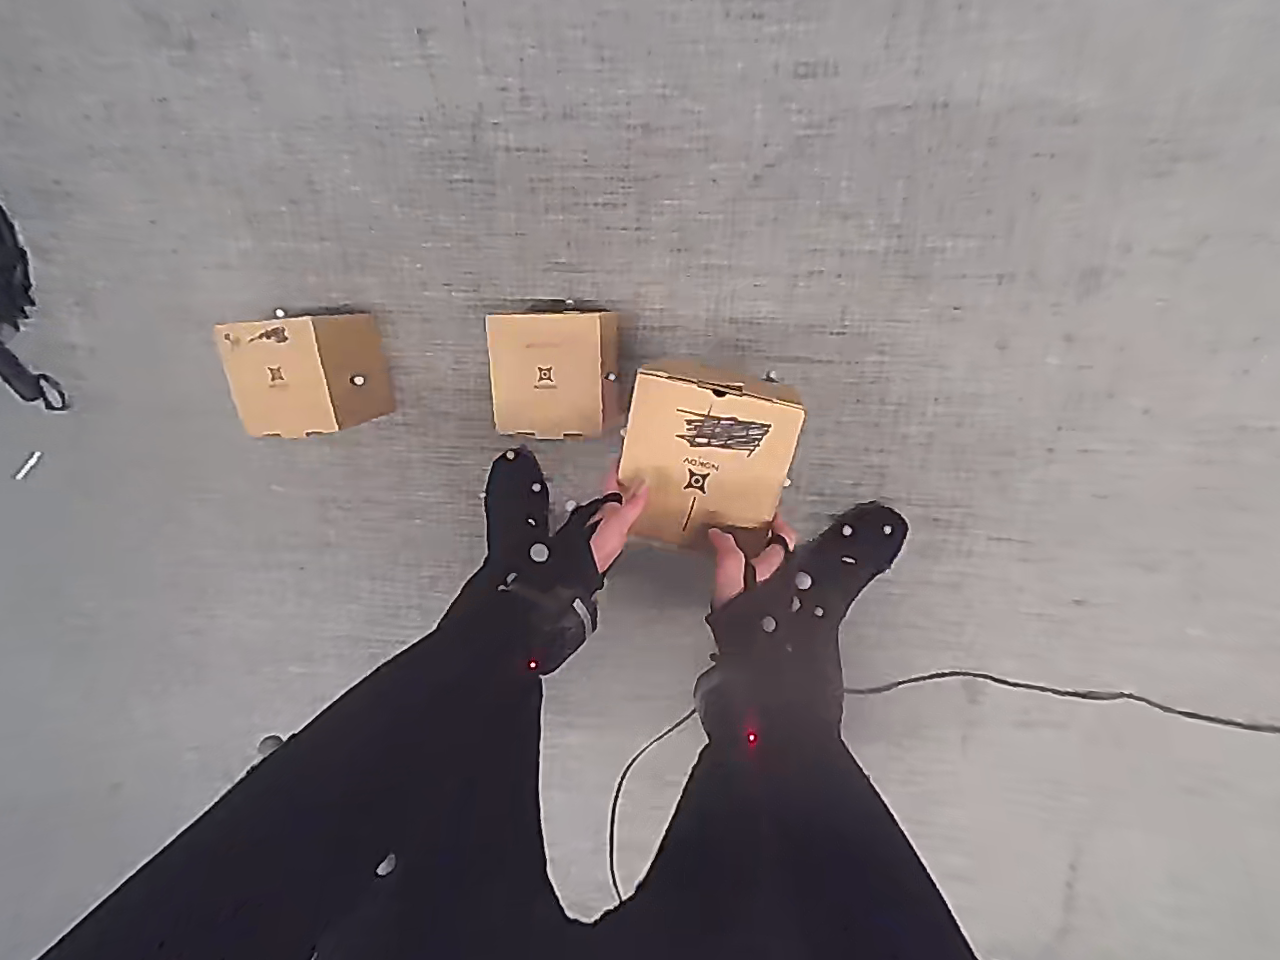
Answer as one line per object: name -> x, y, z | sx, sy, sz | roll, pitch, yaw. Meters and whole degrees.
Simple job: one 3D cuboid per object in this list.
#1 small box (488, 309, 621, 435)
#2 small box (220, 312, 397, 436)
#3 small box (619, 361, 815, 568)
small box -> -0.123, -0.176, 0.854 | 0.168, 0.176, 0.179 | 1, 108, 6
small box -> -0.536, -0.181, 0.904 | 0.168, 0.176, 0.179 | -2, 109, 8
small box -> 0.087, -0.031, 0.612 | 0.168, 0.176, 0.179 | 14, 110, 10
